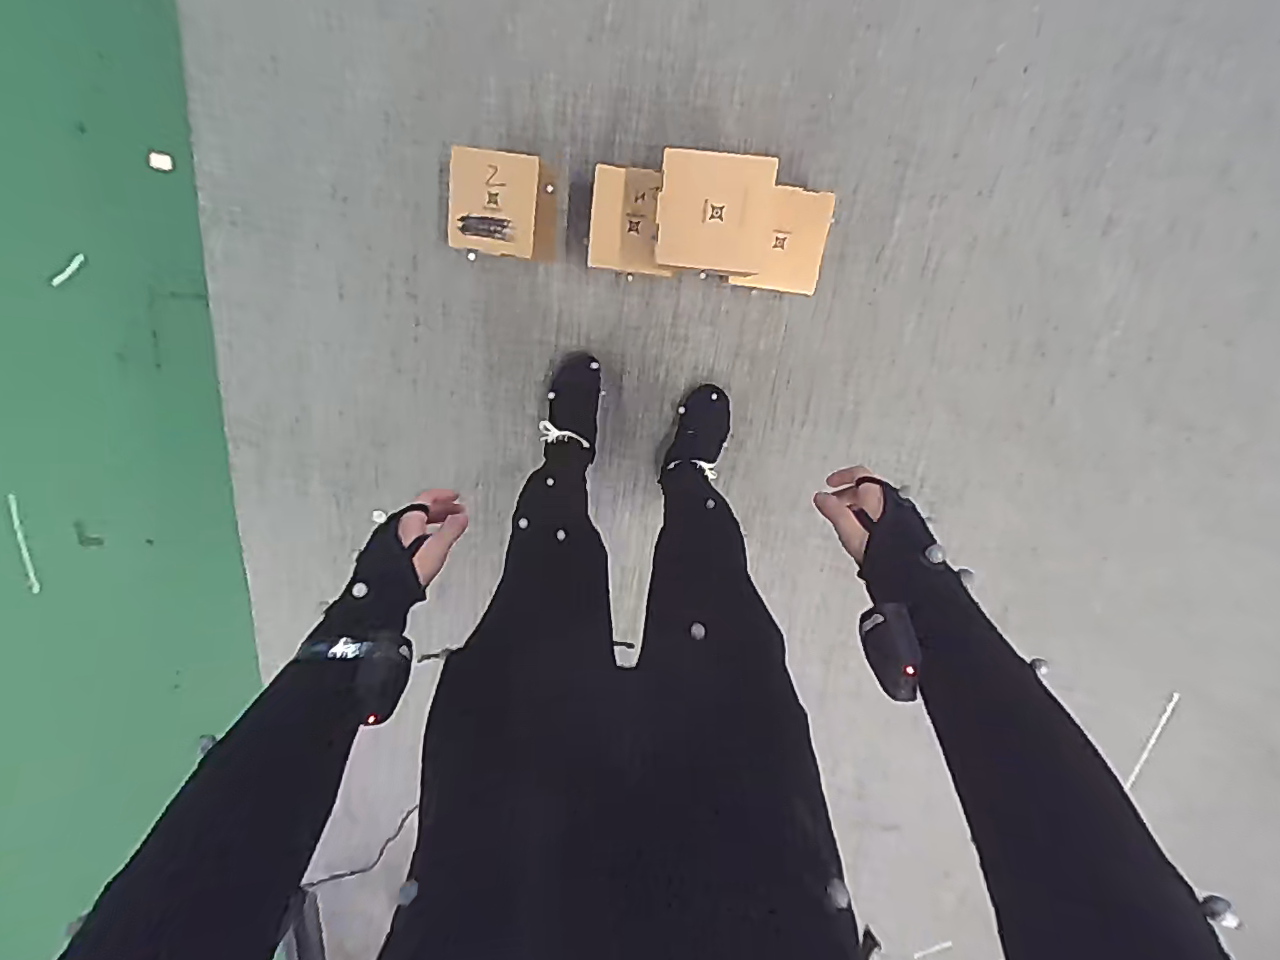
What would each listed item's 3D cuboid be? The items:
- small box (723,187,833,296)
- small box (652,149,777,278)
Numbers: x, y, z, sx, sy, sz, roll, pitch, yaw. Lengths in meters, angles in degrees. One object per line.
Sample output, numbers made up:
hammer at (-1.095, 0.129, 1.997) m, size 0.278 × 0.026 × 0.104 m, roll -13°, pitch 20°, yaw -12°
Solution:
small box at (0.261, -0.466, 1.069) m, size 0.168 × 0.176 × 0.179 m, roll 8°, pitch 109°, yaw 2°
small box at (0.117, -0.439, 0.915) m, size 0.179 × 0.176 × 0.168 m, roll 6°, pitch 109°, yaw 0°
